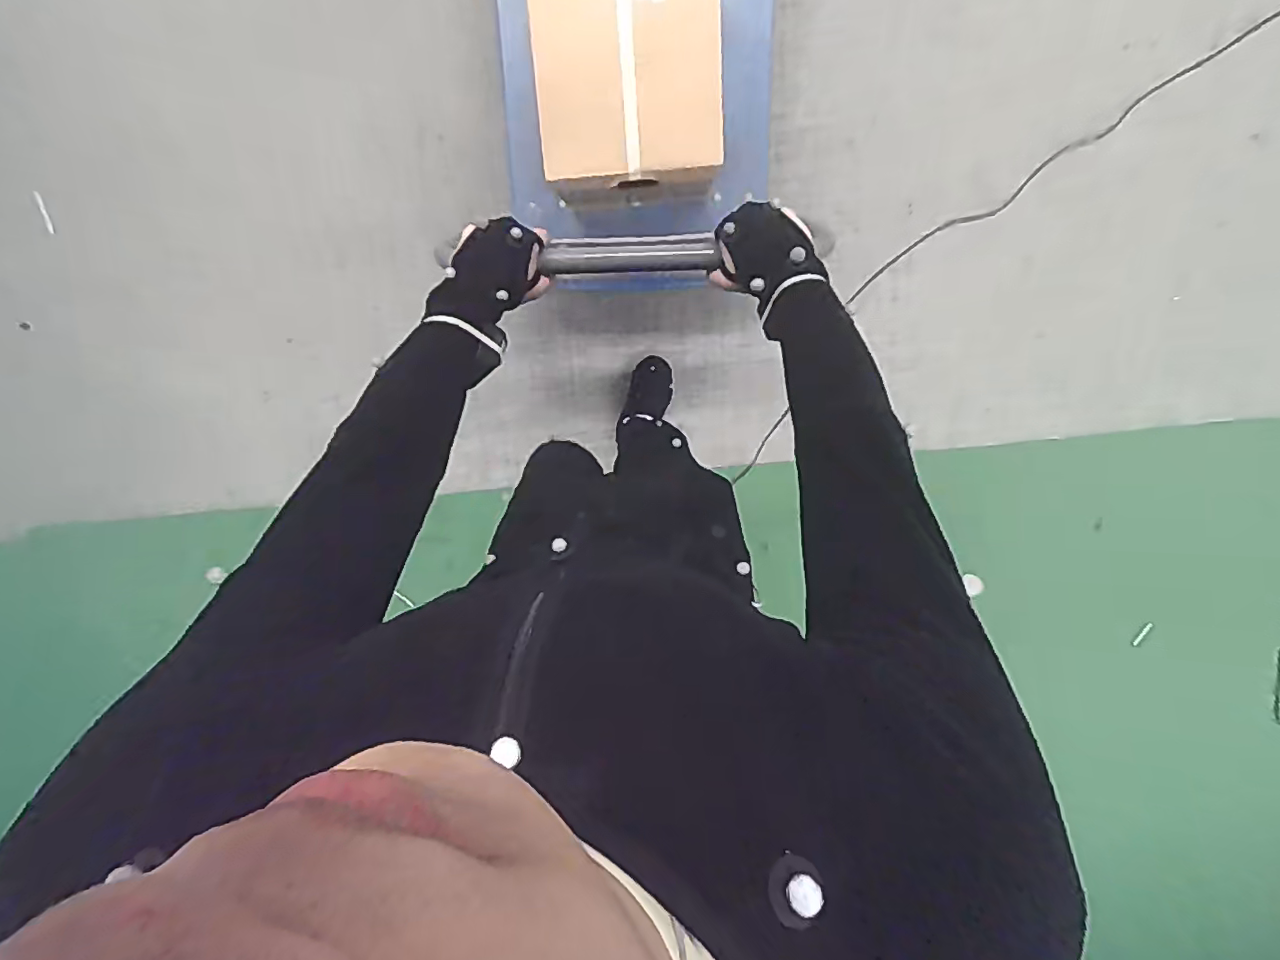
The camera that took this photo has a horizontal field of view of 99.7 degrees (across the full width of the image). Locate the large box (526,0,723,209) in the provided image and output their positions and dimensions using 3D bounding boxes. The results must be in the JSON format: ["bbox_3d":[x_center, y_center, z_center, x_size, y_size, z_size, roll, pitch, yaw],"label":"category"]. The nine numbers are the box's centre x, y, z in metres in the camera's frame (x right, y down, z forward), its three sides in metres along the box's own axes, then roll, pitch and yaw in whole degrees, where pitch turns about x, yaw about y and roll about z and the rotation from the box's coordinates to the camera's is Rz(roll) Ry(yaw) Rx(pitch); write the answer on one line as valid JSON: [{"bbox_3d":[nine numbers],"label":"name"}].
[{"bbox_3d":[-0.018,-0.774,1.029,0.320,0.320,0.408,-4,108,3],"label":"large box"}]
